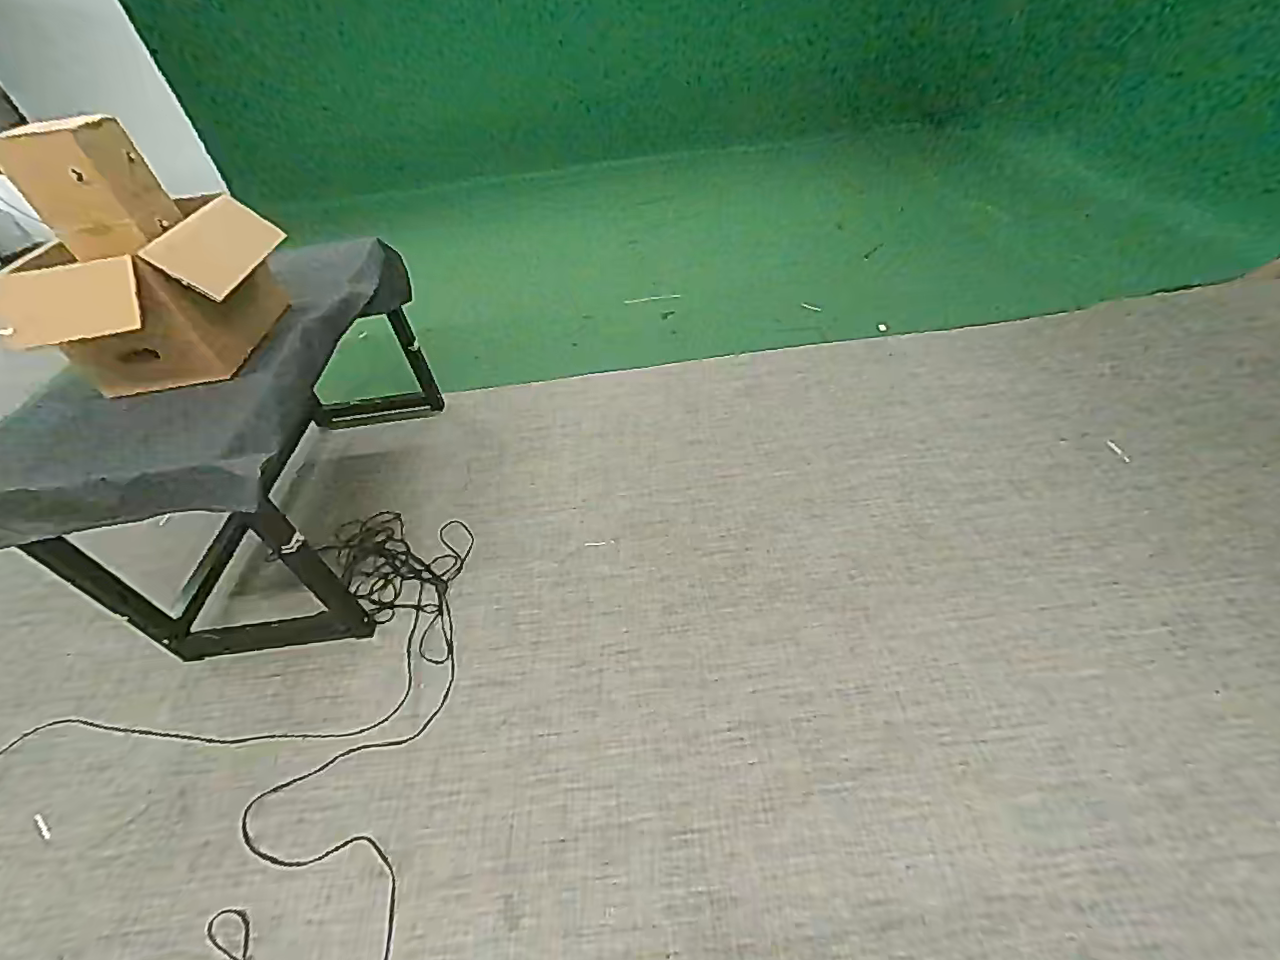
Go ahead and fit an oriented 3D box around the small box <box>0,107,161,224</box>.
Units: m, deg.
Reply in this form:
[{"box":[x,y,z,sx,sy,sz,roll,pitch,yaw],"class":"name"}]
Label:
[{"box":[-1.195,-0.669,1.154,0.179,0.176,0.168,-11,44,-2],"class":"small box"}]
